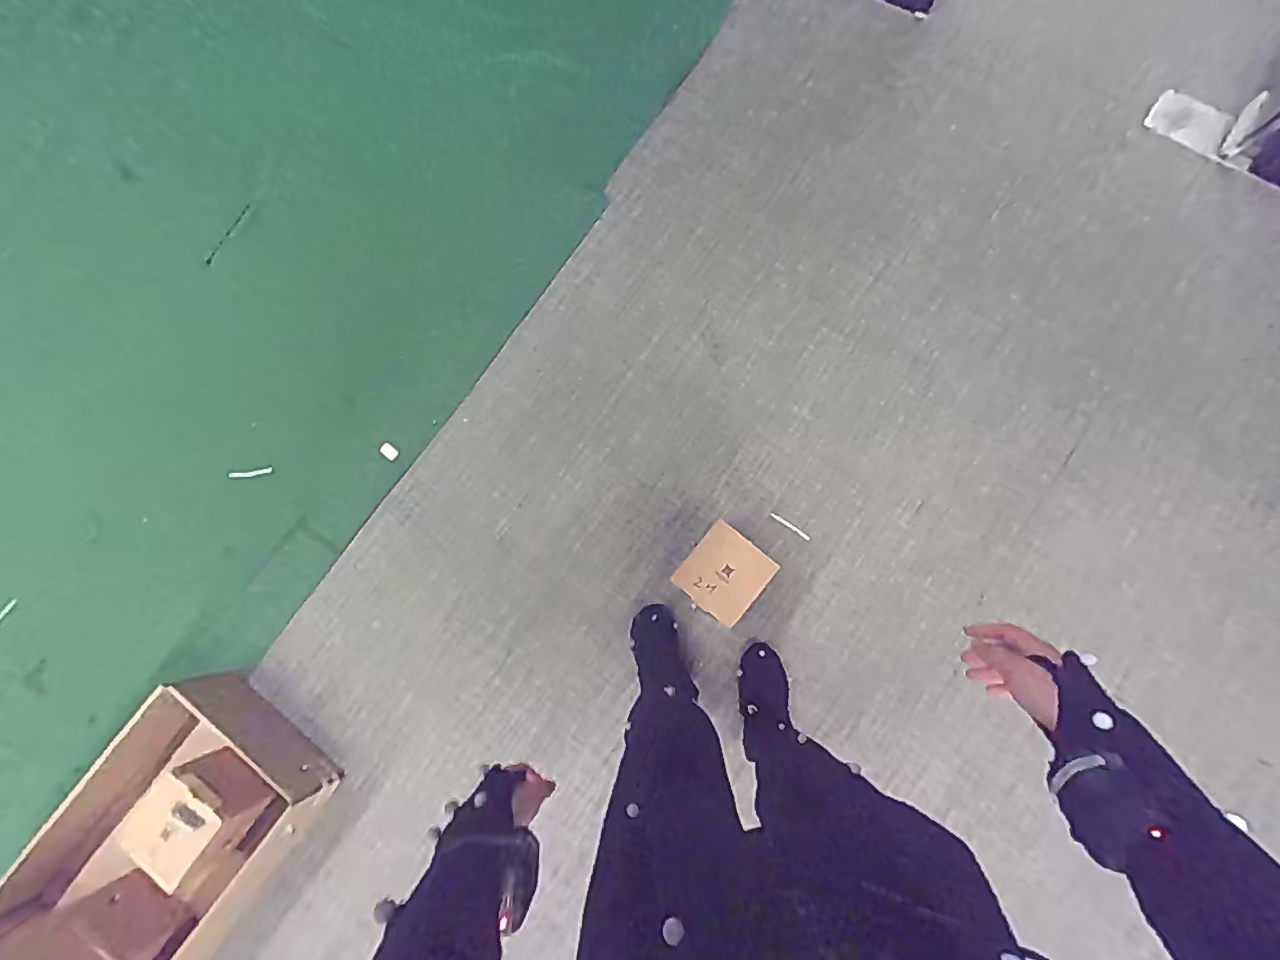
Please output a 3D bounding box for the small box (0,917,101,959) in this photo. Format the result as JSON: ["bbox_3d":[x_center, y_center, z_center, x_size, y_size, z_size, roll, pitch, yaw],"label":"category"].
[{"bbox_3d":[-1.126,0.943,0.961,0.179,0.176,0.168,38,85,7],"label":"small box"}]

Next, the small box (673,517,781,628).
[{"bbox_3d":[0.188,0.206,1.222,0.168,0.176,0.179,40,85,9],"label":"small box"}]

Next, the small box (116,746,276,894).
[{"bbox_3d":[-0.927,0.708,1.153,0.168,0.176,0.179,36,86,8],"label":"small box"}]
